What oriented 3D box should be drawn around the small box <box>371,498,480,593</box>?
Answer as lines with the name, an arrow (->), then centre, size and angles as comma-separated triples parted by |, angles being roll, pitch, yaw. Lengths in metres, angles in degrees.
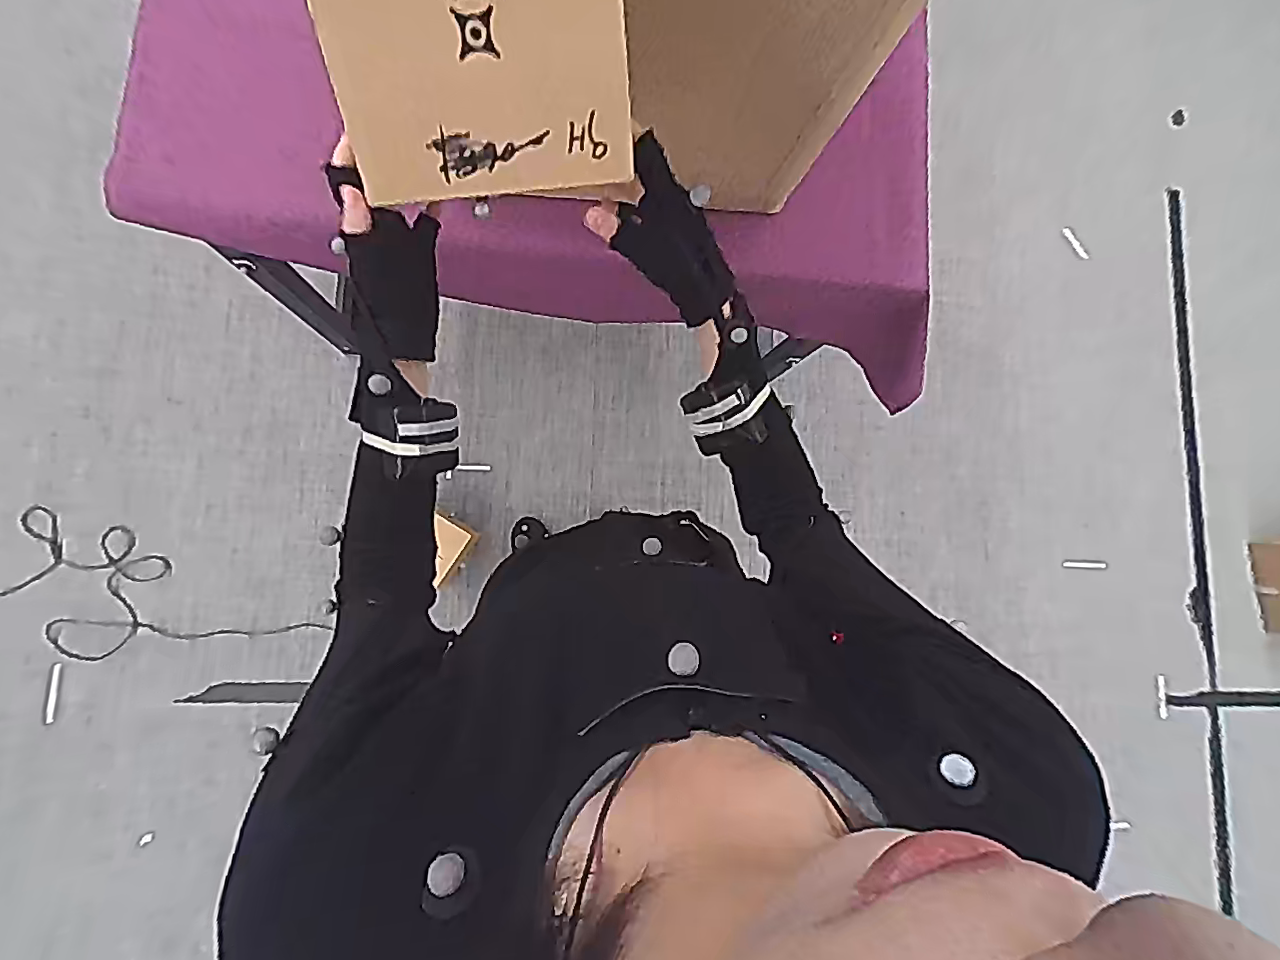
small box -> -0.529, 0.165, 1.361 | 0.179, 0.176, 0.168 | 34, 81, -5

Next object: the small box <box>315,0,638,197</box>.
small box -> -0.104, -0.292, 0.357 | 0.168, 0.176, 0.179 | -10, 120, -8
